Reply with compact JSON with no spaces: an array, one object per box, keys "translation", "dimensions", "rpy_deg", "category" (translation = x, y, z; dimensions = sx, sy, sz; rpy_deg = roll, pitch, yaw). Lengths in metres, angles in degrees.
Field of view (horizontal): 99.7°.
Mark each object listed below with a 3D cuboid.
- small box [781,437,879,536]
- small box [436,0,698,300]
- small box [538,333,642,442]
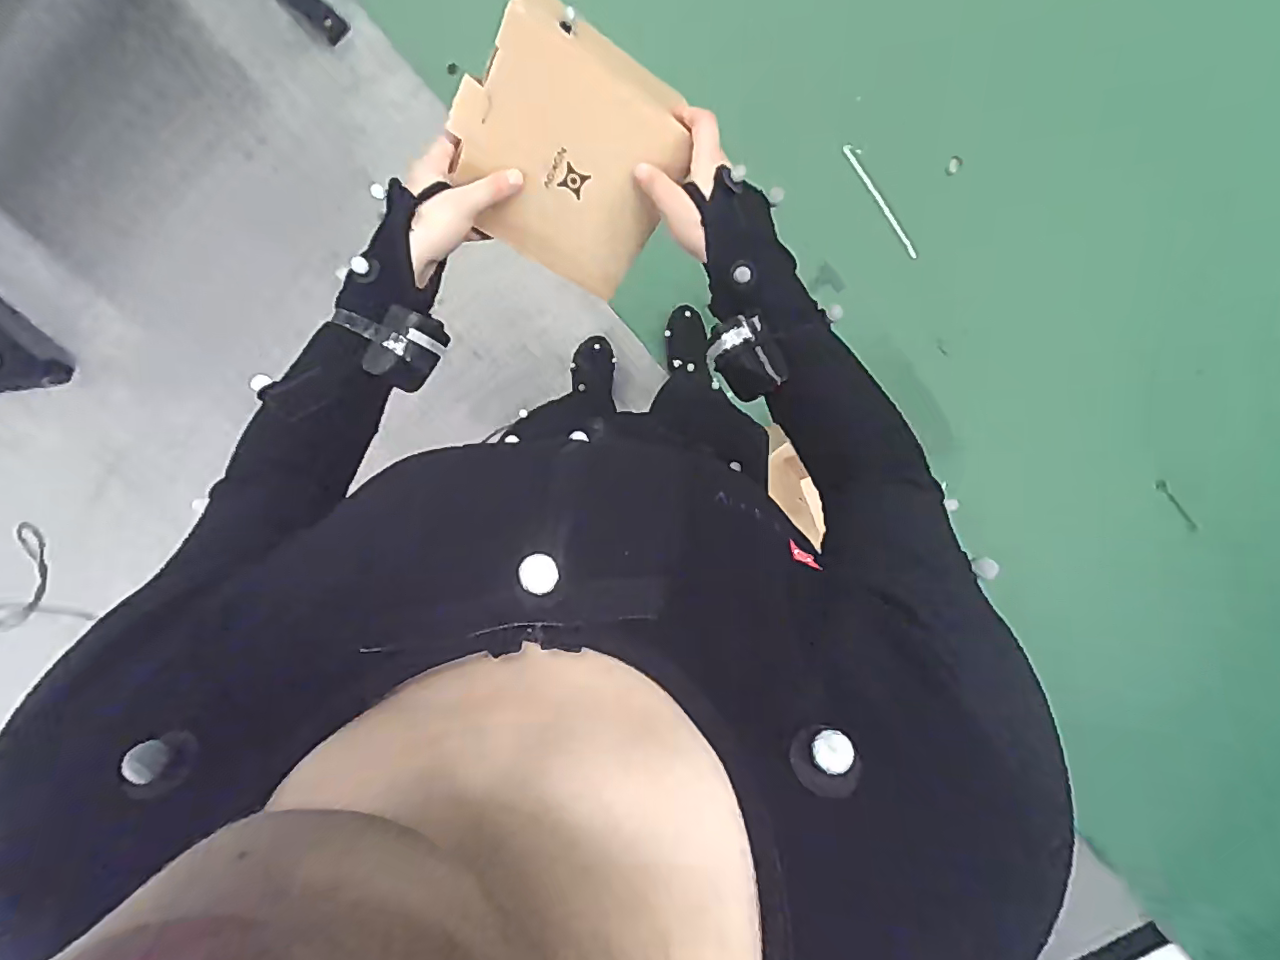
[{"translation":[0.486,0.011,1.401],"dimensions":[0.168,0.176,0.179],"rpy_deg":[-24,108,7],"category":"small box"},{"translation":[-0.068,-0.315,0.518],"dimensions":[0.179,0.176,0.168],"rpy_deg":[22,130,-23],"category":"small box"},{"translation":[-0.115,-0.229,1.338],"dimensions":[0.179,0.168,0.176],"rpy_deg":[-41,135,-12],"category":"small box"}]
